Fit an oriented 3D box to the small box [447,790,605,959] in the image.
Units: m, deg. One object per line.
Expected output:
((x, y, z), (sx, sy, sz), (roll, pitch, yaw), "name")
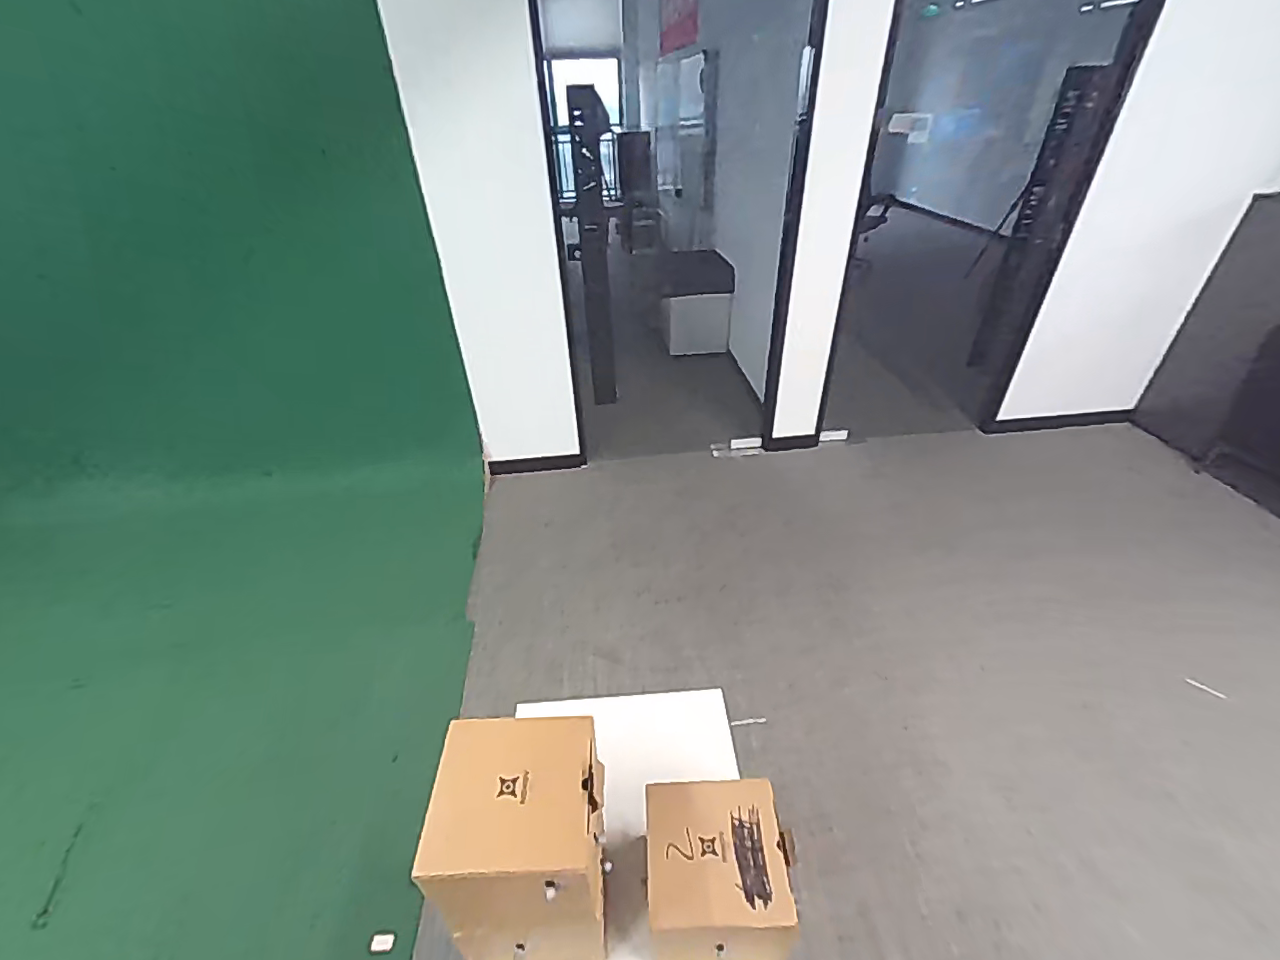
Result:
((-0.142, 0.537, 0.738), (0.179, 0.176, 0.168), (-3, 36, -3), "small box")

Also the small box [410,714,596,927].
((-0.145, 0.403, 0.644), (0.179, 0.176, 0.168), (-1, 36, -3), "small box")
